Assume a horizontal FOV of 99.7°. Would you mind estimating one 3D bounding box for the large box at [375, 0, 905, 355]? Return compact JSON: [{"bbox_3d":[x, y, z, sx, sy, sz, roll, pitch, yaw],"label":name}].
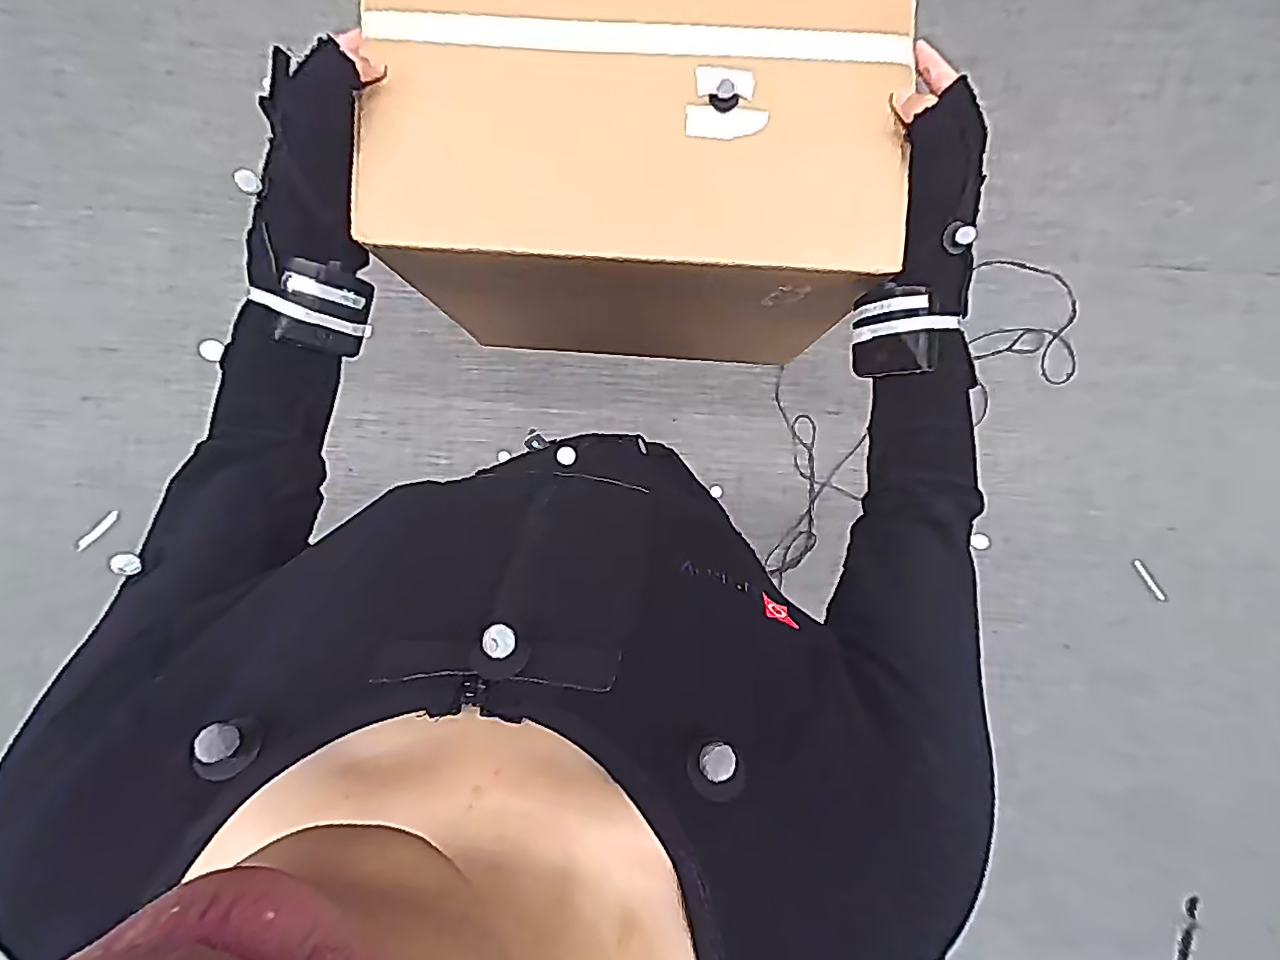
[{"bbox_3d":[0.000,-0.324,0.562,0.408,0.320,0.320,3,90,0],"label":"large box"}]
